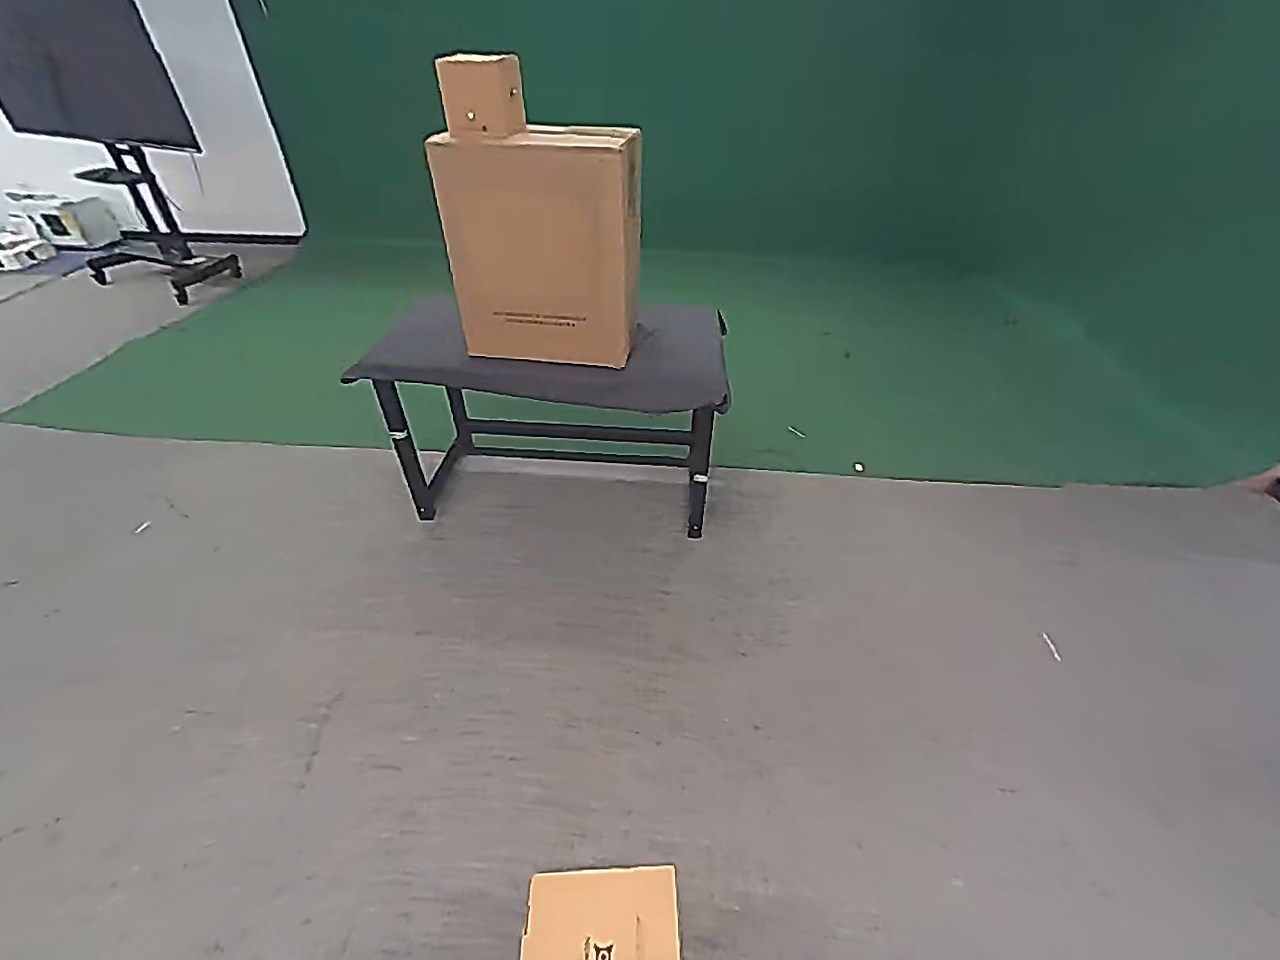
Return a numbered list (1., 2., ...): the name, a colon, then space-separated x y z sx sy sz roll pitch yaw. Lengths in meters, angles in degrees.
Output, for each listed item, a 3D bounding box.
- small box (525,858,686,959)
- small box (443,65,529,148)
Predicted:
1. small box: -0.035 0.575 0.635 0.179 0.176 0.168 -4 37 0
2. small box: -0.413 -1.031 1.487 0.168 0.176 0.179 5 42 7
